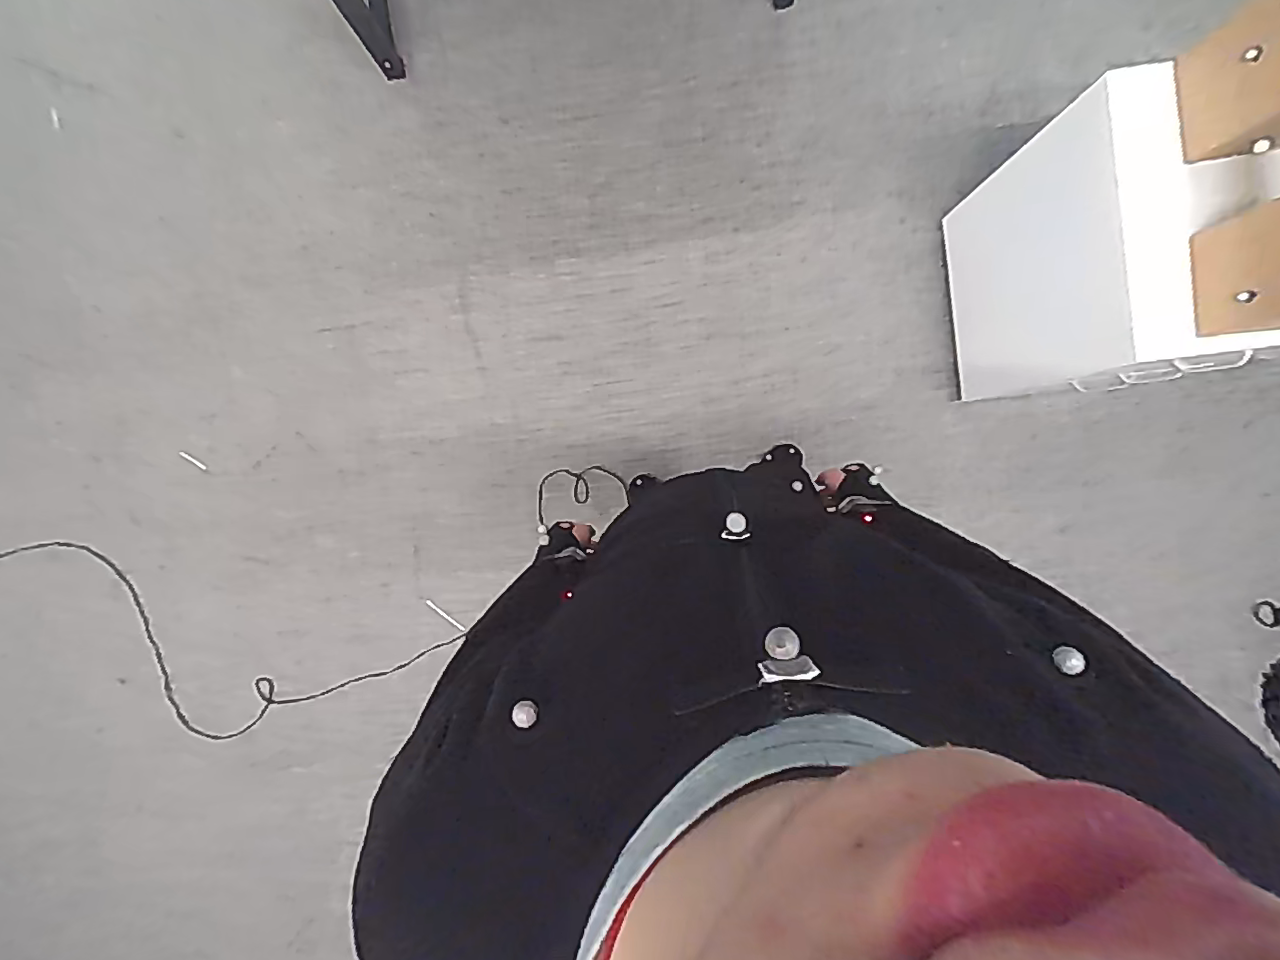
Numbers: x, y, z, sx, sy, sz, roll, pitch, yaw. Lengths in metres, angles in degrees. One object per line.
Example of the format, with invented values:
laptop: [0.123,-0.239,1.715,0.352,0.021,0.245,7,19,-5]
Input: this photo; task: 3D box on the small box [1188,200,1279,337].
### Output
small box: [1.020,-0.329,0.842,0.168,0.176,0.179,-5,89,1]

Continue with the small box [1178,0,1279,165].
small box: [0.992,-0.627,0.834,0.168,0.176,0.179,-8,93,3]
